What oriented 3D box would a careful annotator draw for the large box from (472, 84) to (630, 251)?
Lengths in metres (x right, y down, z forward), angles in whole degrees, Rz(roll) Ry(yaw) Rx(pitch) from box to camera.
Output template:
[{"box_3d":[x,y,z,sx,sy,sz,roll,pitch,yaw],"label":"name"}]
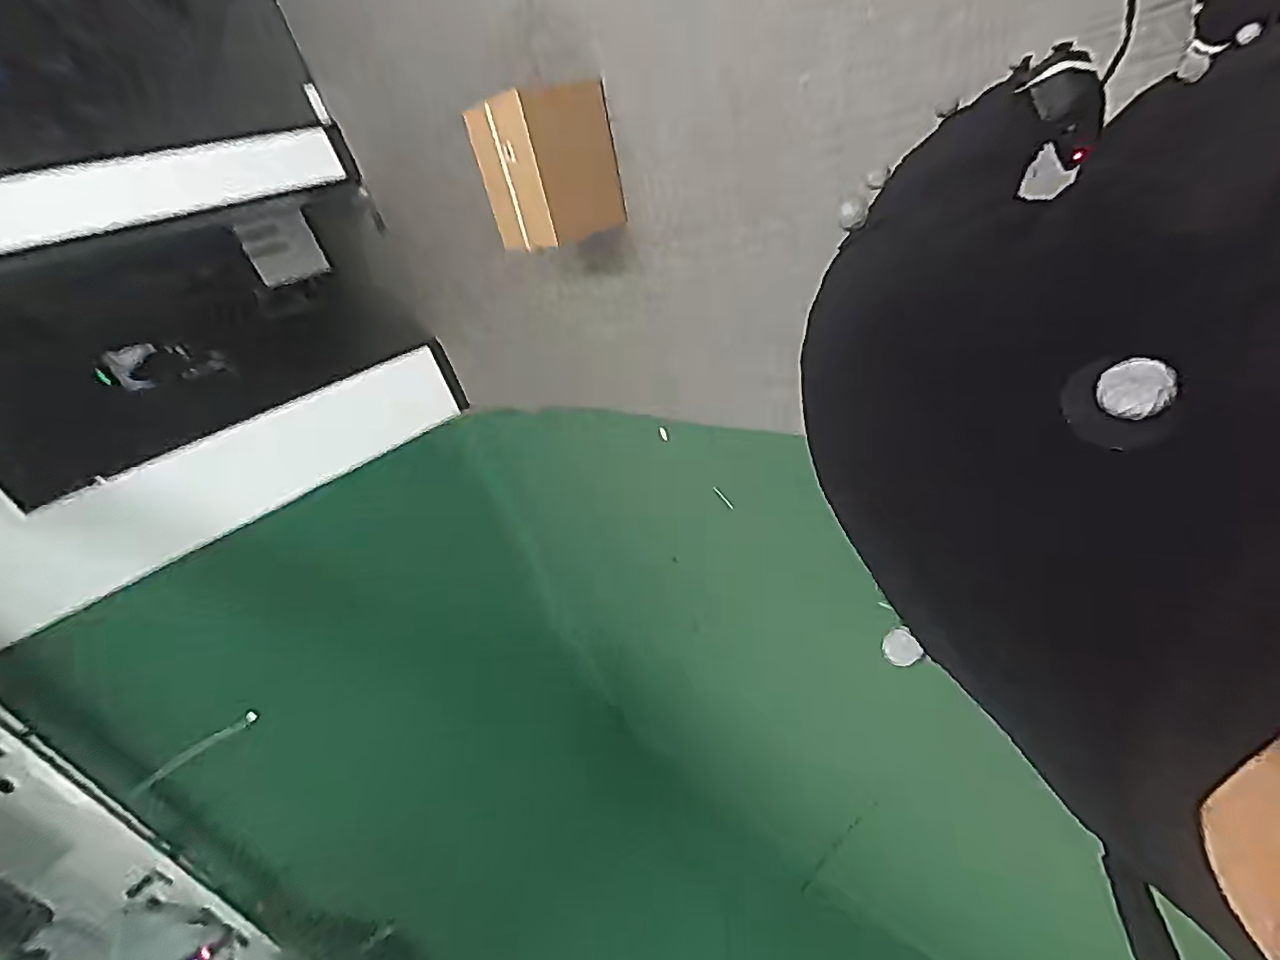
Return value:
[{"box_3d":[-0.273,-0.987,1.735,0.320,0.320,0.408,20,133,42],"label":"large box"}]
